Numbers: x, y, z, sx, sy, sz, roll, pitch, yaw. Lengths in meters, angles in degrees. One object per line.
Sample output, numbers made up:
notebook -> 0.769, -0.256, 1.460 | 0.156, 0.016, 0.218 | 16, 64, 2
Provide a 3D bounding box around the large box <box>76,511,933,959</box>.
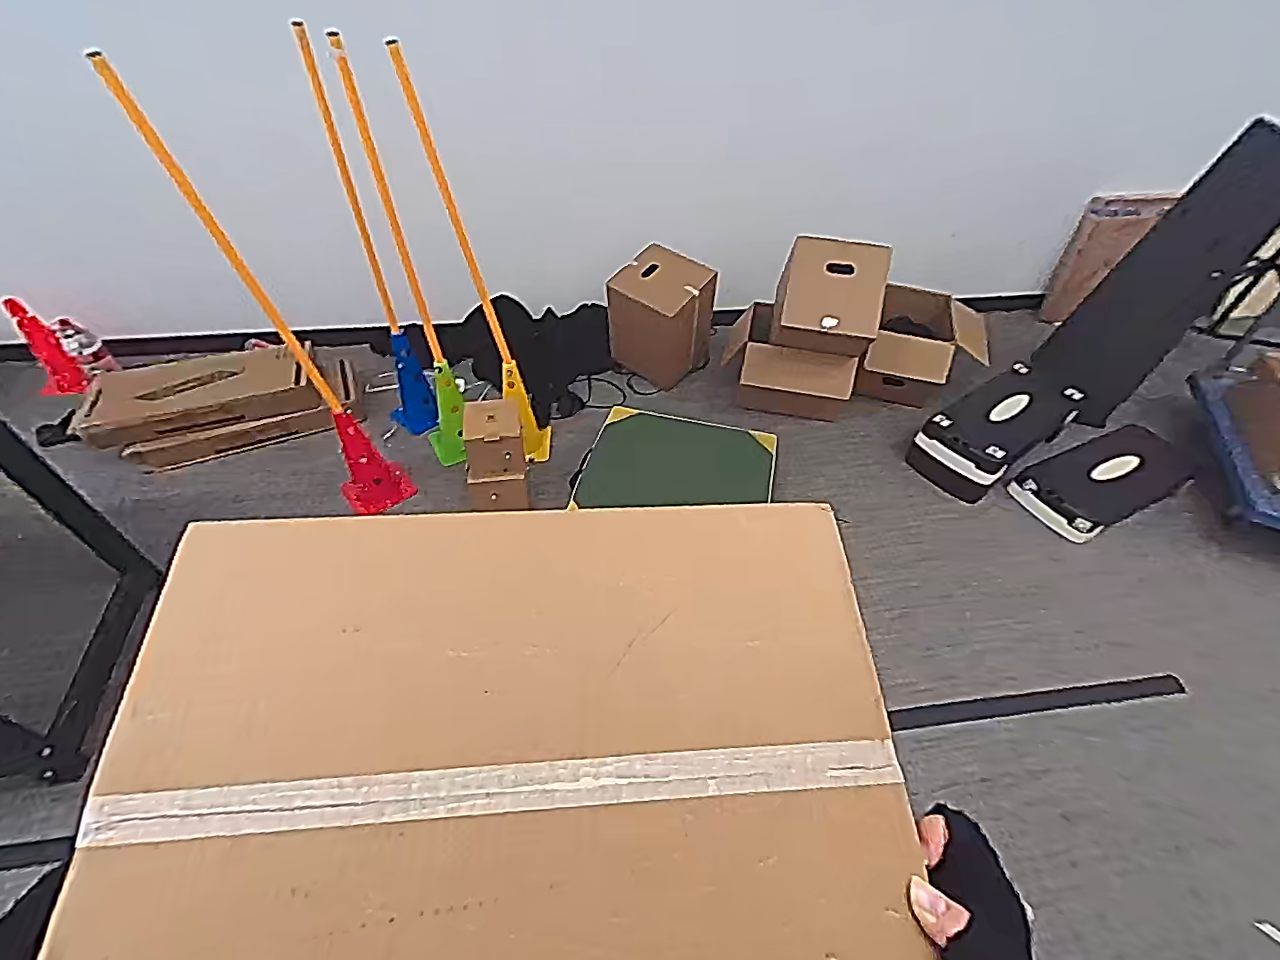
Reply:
large box -> -0.070, 0.234, 0.418 | 0.408, 0.320, 0.320 | -1, 62, -4
